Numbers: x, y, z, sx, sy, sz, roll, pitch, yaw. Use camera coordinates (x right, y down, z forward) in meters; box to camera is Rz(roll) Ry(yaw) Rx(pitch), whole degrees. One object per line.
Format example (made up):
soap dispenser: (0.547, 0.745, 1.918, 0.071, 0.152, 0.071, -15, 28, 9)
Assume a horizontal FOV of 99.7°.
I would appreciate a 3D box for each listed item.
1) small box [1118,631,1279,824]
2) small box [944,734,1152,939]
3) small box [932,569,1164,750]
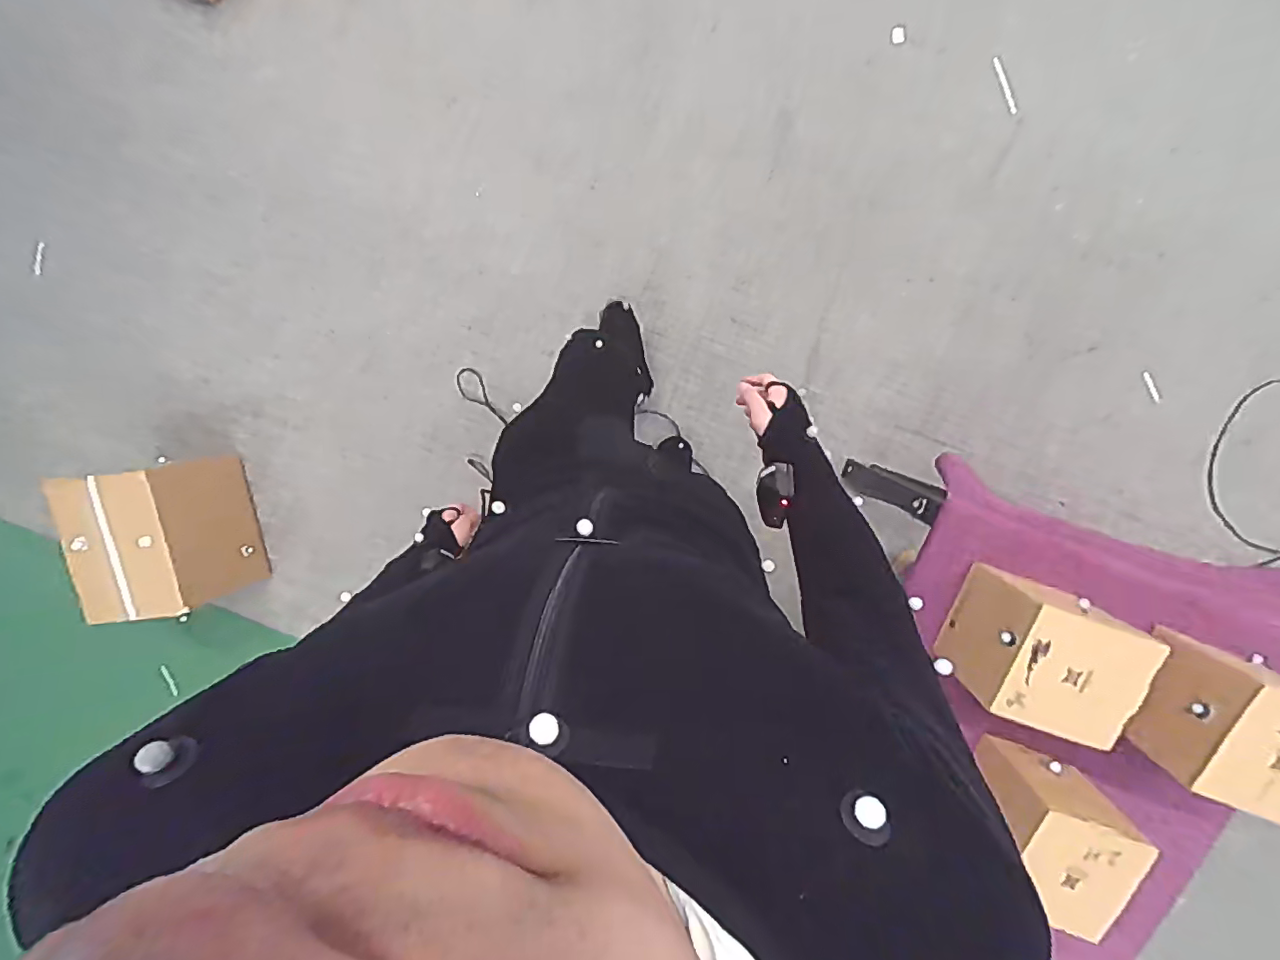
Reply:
small box: (0.849, 0.352, 0.792, 0.168, 0.176, 0.179, 21, 103, 1)
small box: (0.614, 0.545, 0.847, 0.168, 0.176, 0.179, 21, 102, 0)
small box: (0.577, 0.249, 0.792, 0.179, 0.176, 0.168, 19, 101, -1)
